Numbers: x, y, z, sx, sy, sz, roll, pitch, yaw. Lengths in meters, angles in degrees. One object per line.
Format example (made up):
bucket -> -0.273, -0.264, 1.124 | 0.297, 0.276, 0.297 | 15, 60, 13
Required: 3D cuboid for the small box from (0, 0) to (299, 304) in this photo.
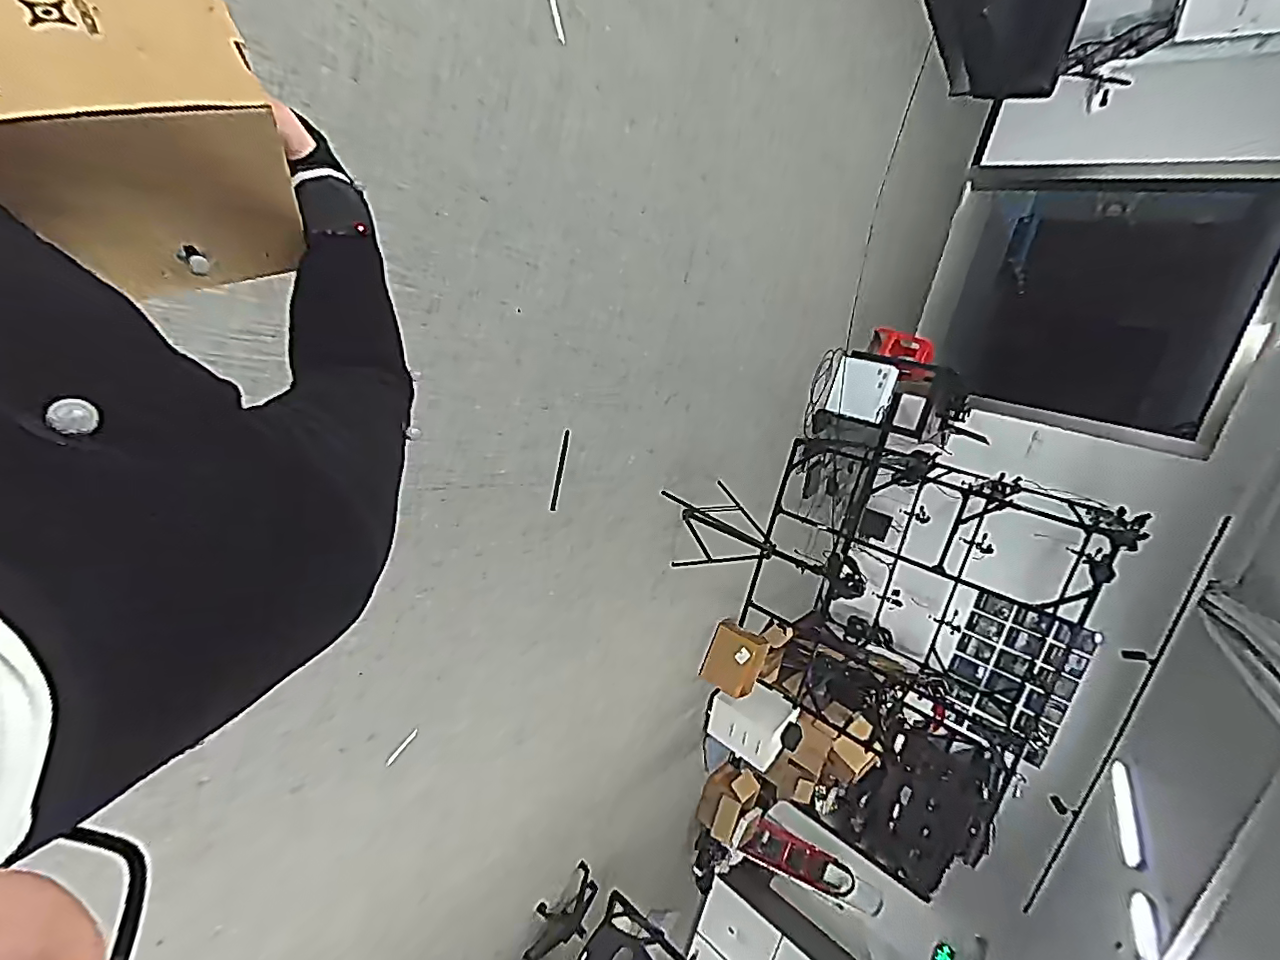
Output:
small box -> -0.403, -0.272, 0.436 | 0.179, 0.168, 0.176 | -27, 171, -29
